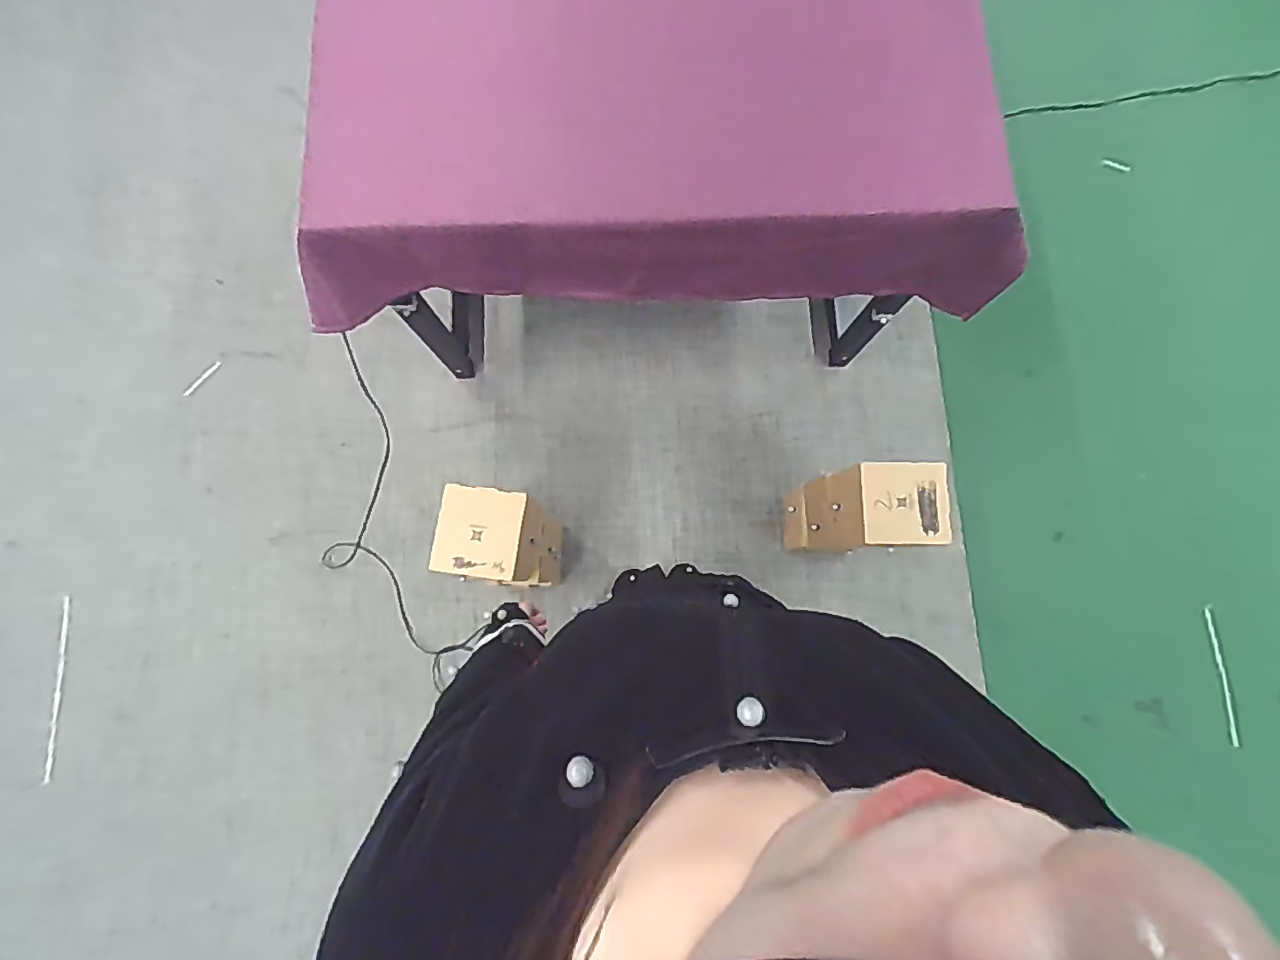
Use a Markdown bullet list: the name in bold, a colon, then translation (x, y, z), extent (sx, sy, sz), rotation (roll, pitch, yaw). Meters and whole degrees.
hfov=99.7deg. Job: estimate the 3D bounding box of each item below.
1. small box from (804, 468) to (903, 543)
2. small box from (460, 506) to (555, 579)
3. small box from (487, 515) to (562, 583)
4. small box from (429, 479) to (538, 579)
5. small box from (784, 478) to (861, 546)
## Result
- **small box**: translation (0.508, 0.066, 1.315), extent (0.179, 0.176, 0.168), rotation (-1, 81, -2)
- **small box**: translation (-0.309, 0.149, 1.289), extent (0.179, 0.176, 0.168), rotation (4, 80, -1)
- **small box**: translation (-0.304, 0.185, 1.450), extent (0.168, 0.176, 0.179), rotation (1, 79, -1)
- **small box**: translation (-0.315, 0.108, 1.129), extent (0.168, 0.176, 0.179), rotation (8, 79, 1)
- **small box**: translation (0.497, 0.092, 1.476), extent (0.179, 0.176, 0.168), rotation (2, 80, -1)
